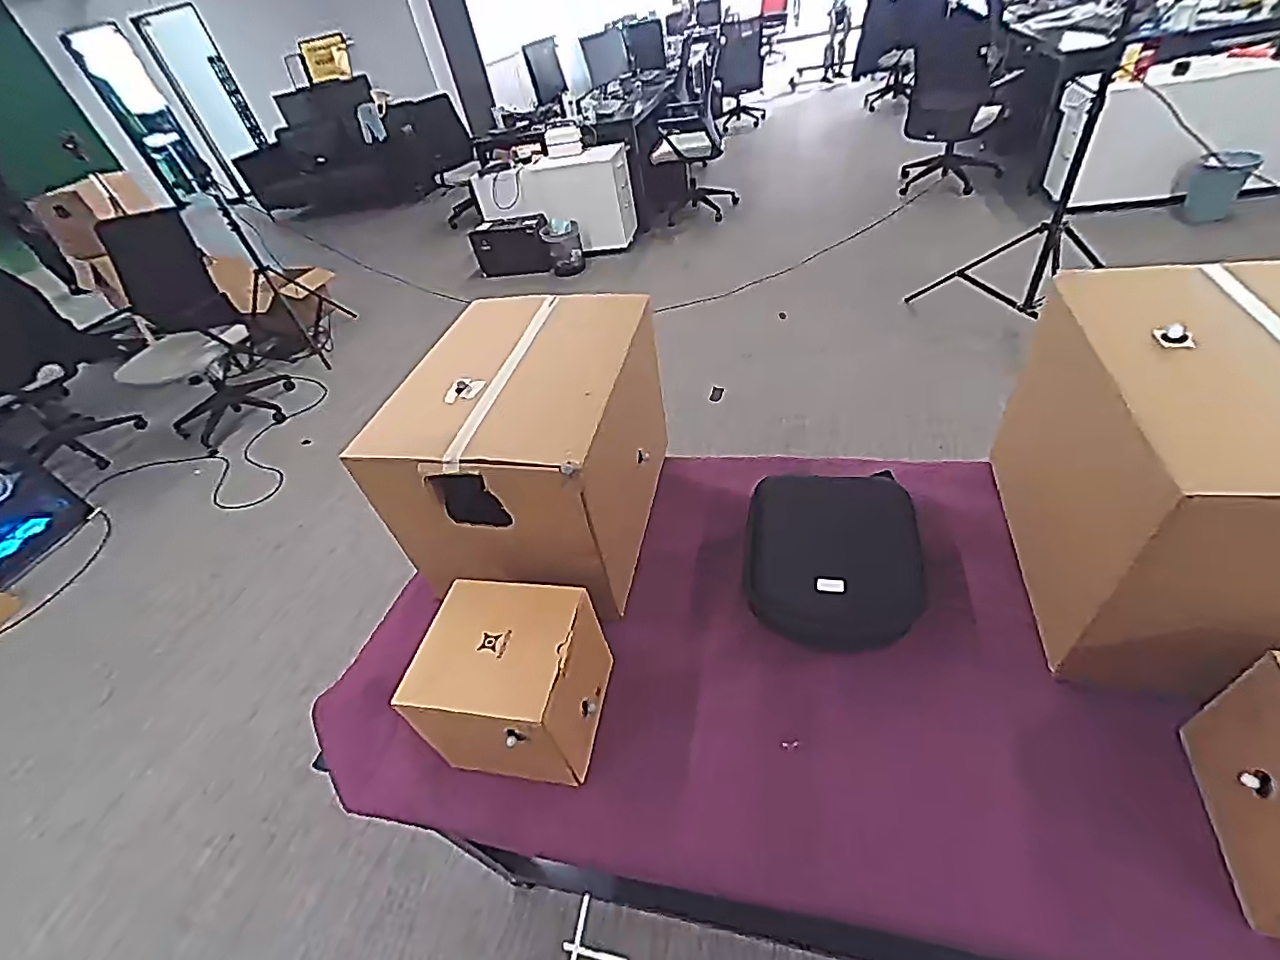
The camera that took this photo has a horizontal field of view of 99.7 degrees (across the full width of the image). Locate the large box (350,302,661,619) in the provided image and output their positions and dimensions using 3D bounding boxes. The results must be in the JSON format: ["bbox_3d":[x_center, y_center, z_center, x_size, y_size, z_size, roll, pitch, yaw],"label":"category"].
[{"bbox_3d":[-0.155,-0.043,0.862,0.320,0.320,0.408,2,46,14],"label":"large box"}]

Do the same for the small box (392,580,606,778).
[{"bbox_3d":[-0.155,0.241,0.660,0.179,0.176,0.168,1,43,13],"label":"small box"}]
